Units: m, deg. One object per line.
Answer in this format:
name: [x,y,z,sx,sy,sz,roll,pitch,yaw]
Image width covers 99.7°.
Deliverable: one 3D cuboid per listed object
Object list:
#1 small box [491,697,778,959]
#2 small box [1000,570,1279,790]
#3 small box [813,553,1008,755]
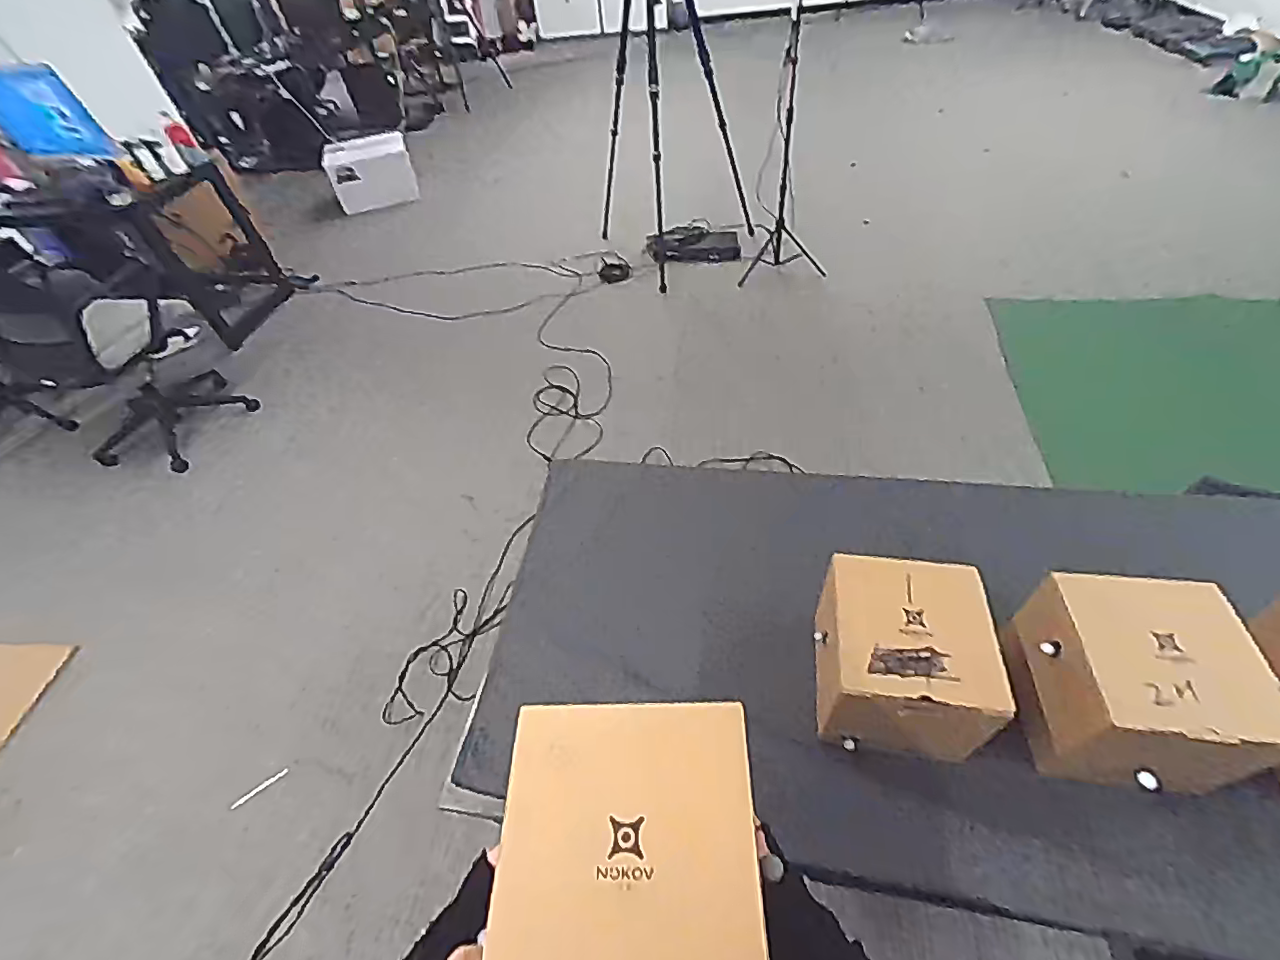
small box: [0.003,0.277,0.402,0.168,0.176,0.179,-3,51,4]
small box: [0.548,0.227,0.617,0.168,0.176,0.179,3,49,10]
small box: [0.309,0.214,0.660,0.168,0.176,0.179,5,48,11]
